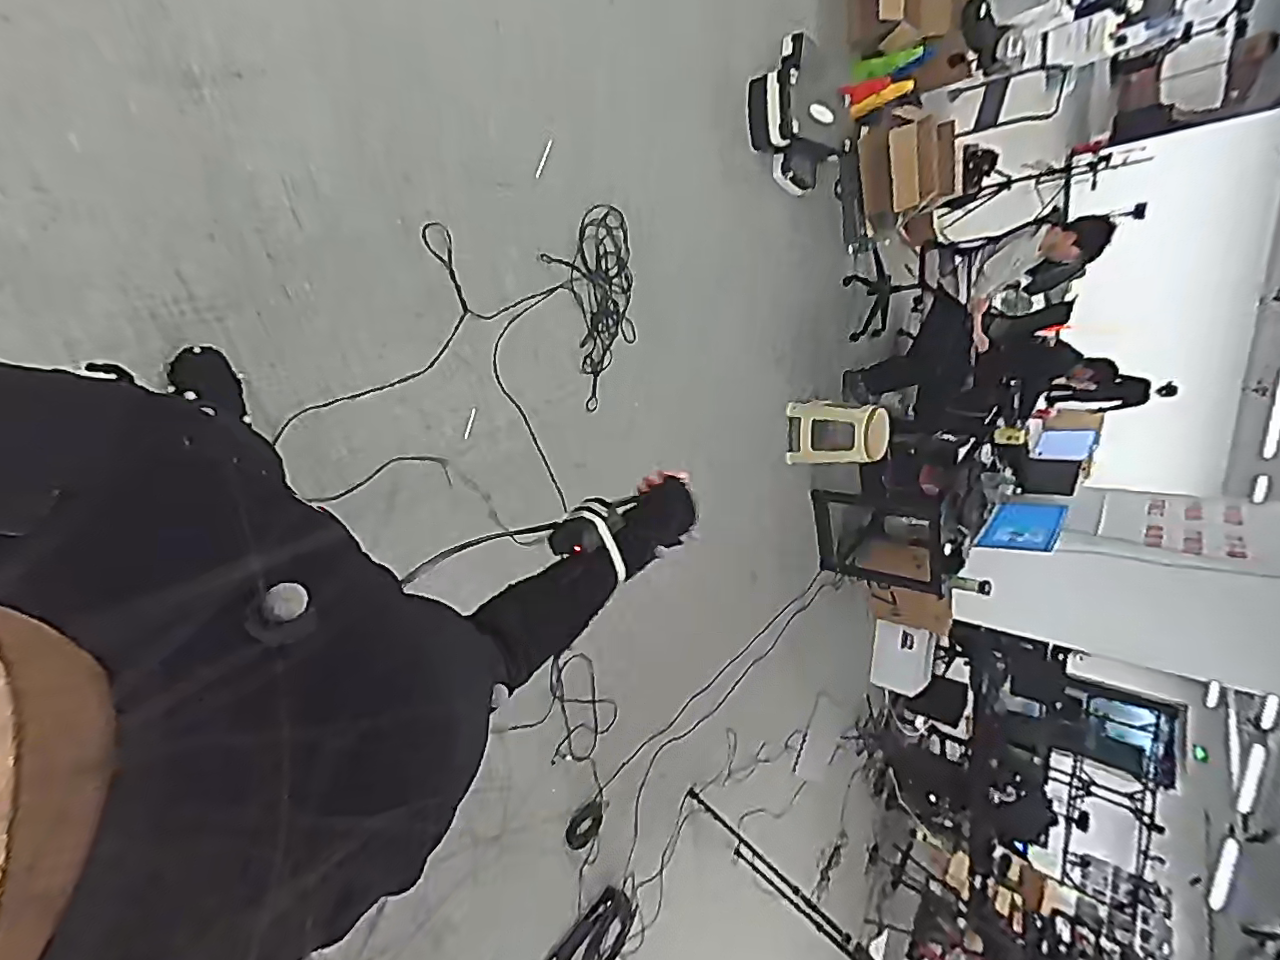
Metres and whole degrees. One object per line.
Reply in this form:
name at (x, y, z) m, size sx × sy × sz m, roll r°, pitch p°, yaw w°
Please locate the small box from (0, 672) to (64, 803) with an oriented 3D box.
small box at (-1.147, 0.455, 0.926) m, size 0.168 × 0.176 × 0.179 m, roll -32°, pitch 119°, yaw -40°
